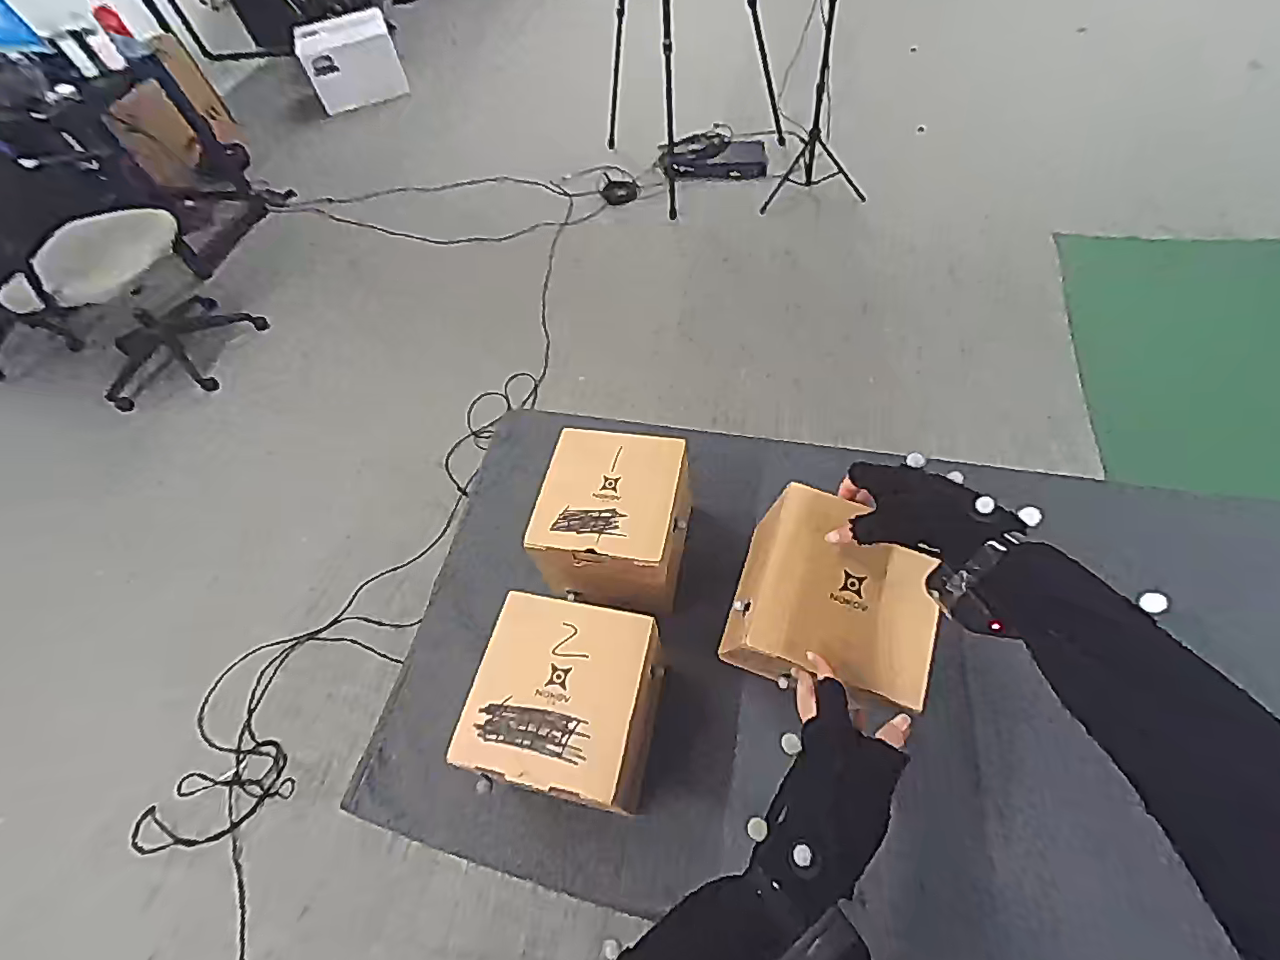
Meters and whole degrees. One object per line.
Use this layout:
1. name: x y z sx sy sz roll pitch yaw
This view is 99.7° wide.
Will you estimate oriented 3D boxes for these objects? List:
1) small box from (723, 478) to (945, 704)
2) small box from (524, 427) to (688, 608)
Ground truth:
1. small box: 0.199 0.126 0.594 0.168 0.176 0.179 19 71 6
2. small box: -0.029 0.054 0.719 0.168 0.176 0.179 7 58 12
